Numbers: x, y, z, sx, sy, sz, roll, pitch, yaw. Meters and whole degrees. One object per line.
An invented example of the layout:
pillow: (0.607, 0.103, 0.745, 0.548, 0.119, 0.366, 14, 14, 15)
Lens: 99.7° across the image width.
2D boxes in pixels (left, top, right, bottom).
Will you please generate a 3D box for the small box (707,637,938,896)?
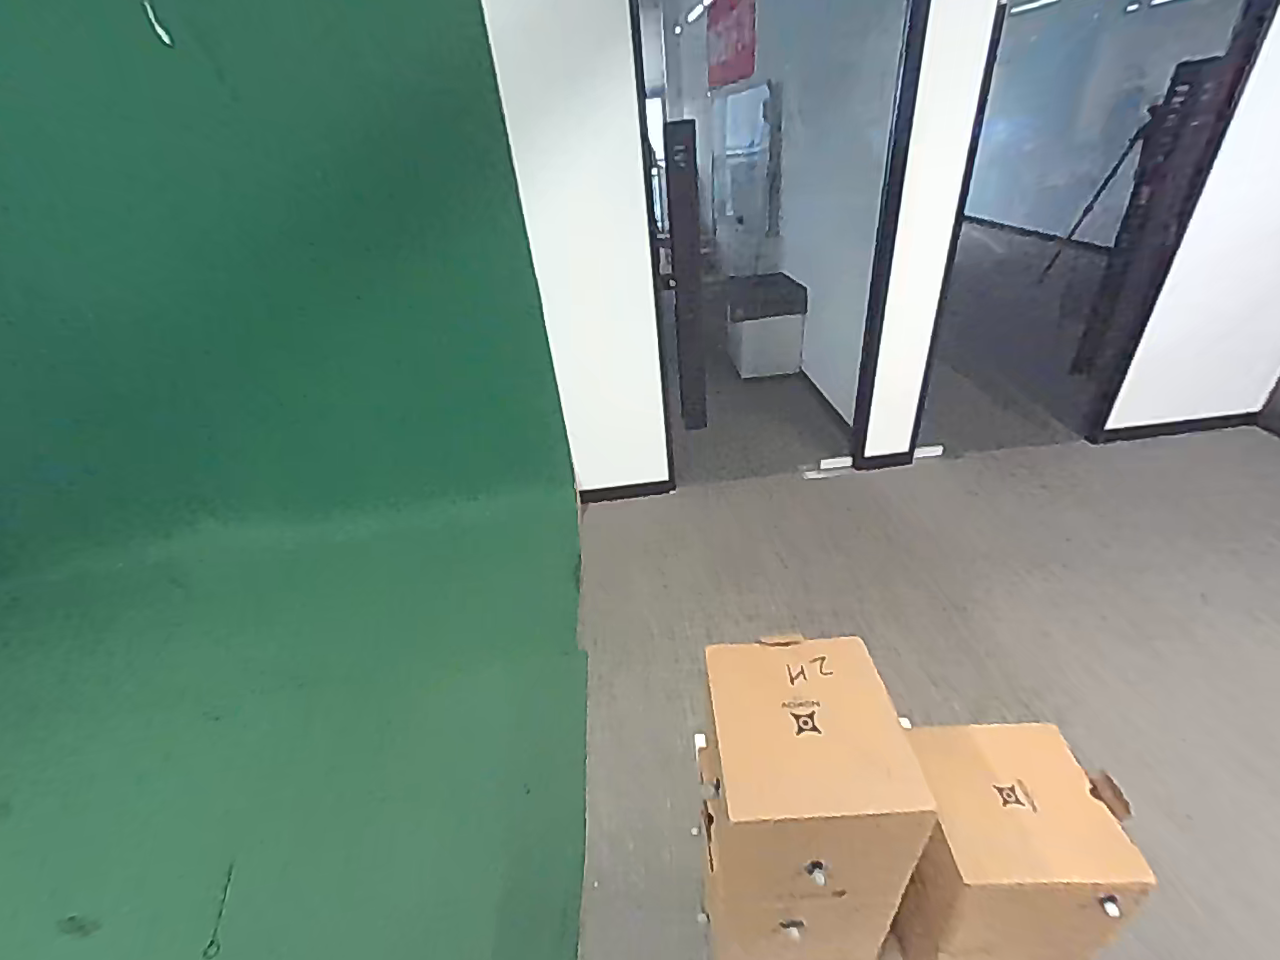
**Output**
small box: (0.158, 0.282, 0.534, 0.168, 0.176, 0.179, -3, 33, 1)

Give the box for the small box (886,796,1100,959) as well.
small box: (0.425, 0.540, 0.701, 0.179, 0.176, 0.168, -6, 32, 4)

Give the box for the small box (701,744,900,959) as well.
small box: (0.166, 0.423, 0.620, 0.179, 0.176, 0.168, -3, 33, 1)
